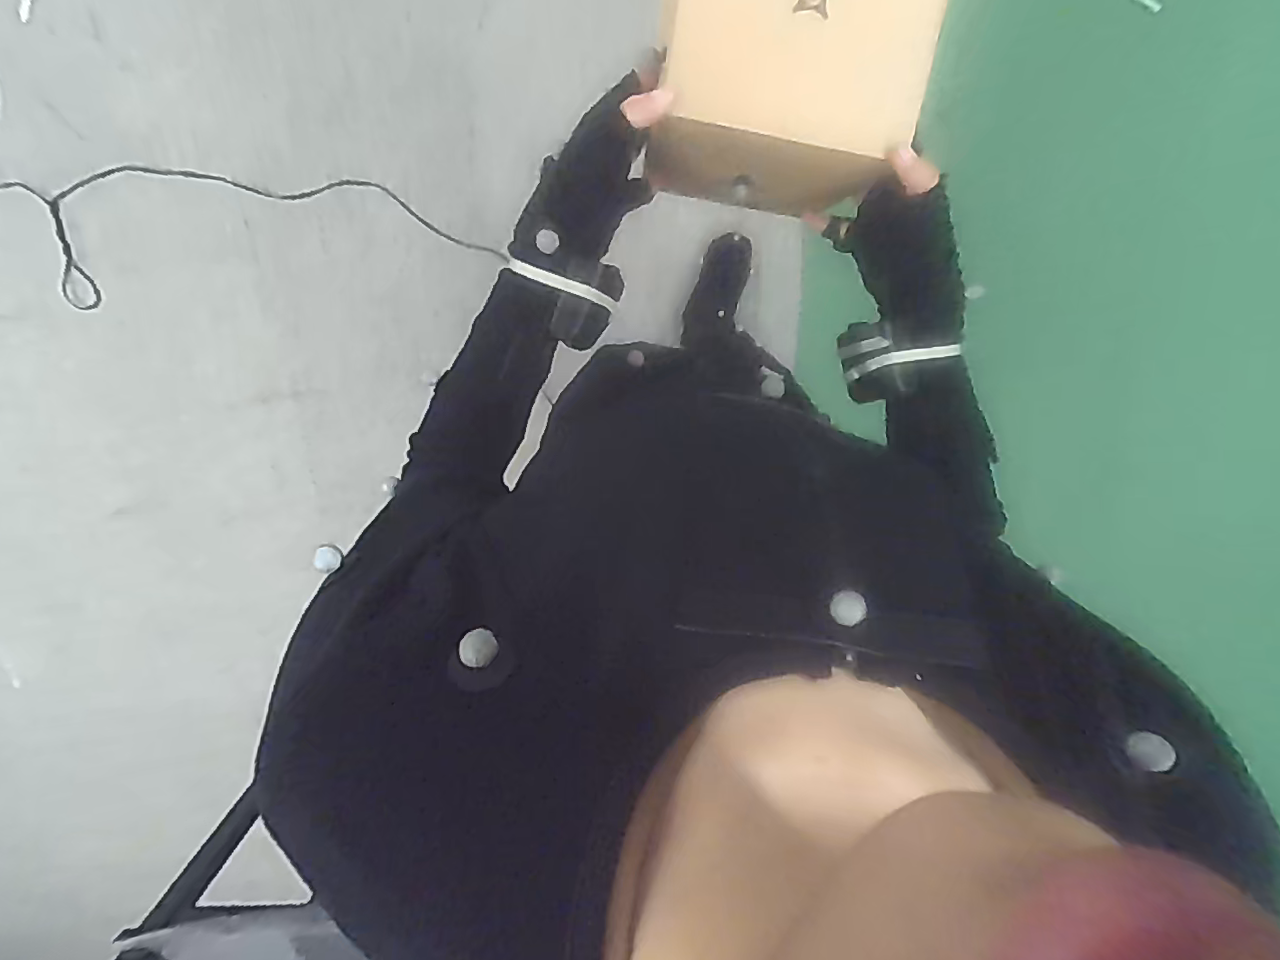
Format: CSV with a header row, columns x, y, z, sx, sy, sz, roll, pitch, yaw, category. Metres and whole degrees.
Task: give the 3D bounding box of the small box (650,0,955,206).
x,y,z,sx,sy,sz,roll,pitch,yaw,category
0.104,-0.321,0.396,0.168,0.176,0.179,7,103,-7,small box
